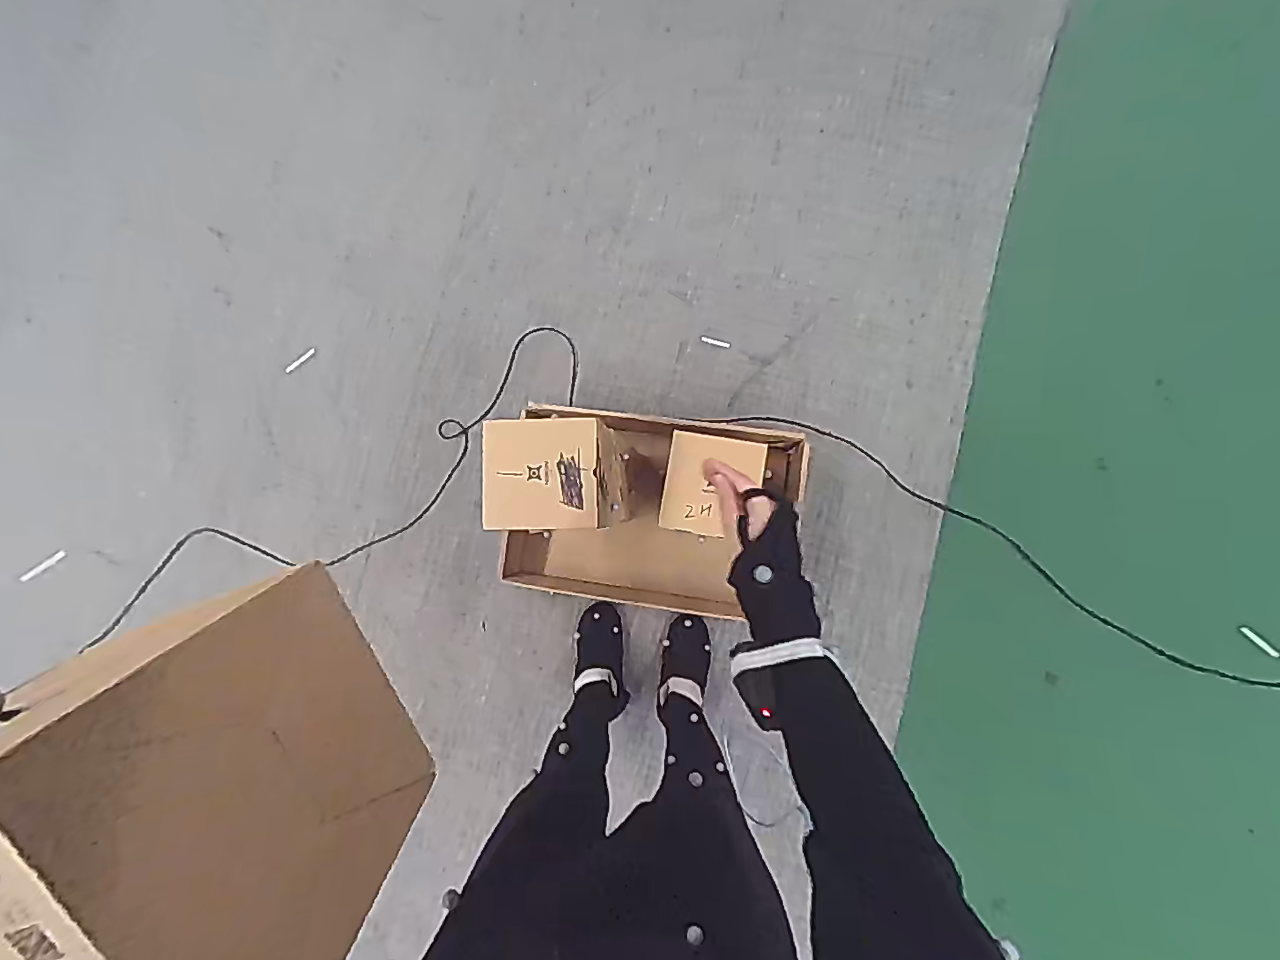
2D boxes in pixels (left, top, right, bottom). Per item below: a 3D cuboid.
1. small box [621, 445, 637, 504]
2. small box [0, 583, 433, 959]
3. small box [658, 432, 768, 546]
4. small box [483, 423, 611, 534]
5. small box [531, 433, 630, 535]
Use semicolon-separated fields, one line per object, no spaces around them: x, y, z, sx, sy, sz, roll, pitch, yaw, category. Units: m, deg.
-0.108;0.004;1.203;0.179;0.176;0.168;8;87;4;small box
-0.241;0.174;0.273;0.176;0.179;0.168;-20;102;7;small box
0.133;0.021;1.011;0.168;0.176;0.179;10;87;7;small box
-0.141;0.001;0.877;0.179;0.176;0.168;-1;86;5;small box
-0.116;0.010;1.039;0.179;0.176;0.168;-8;86;4;small box
